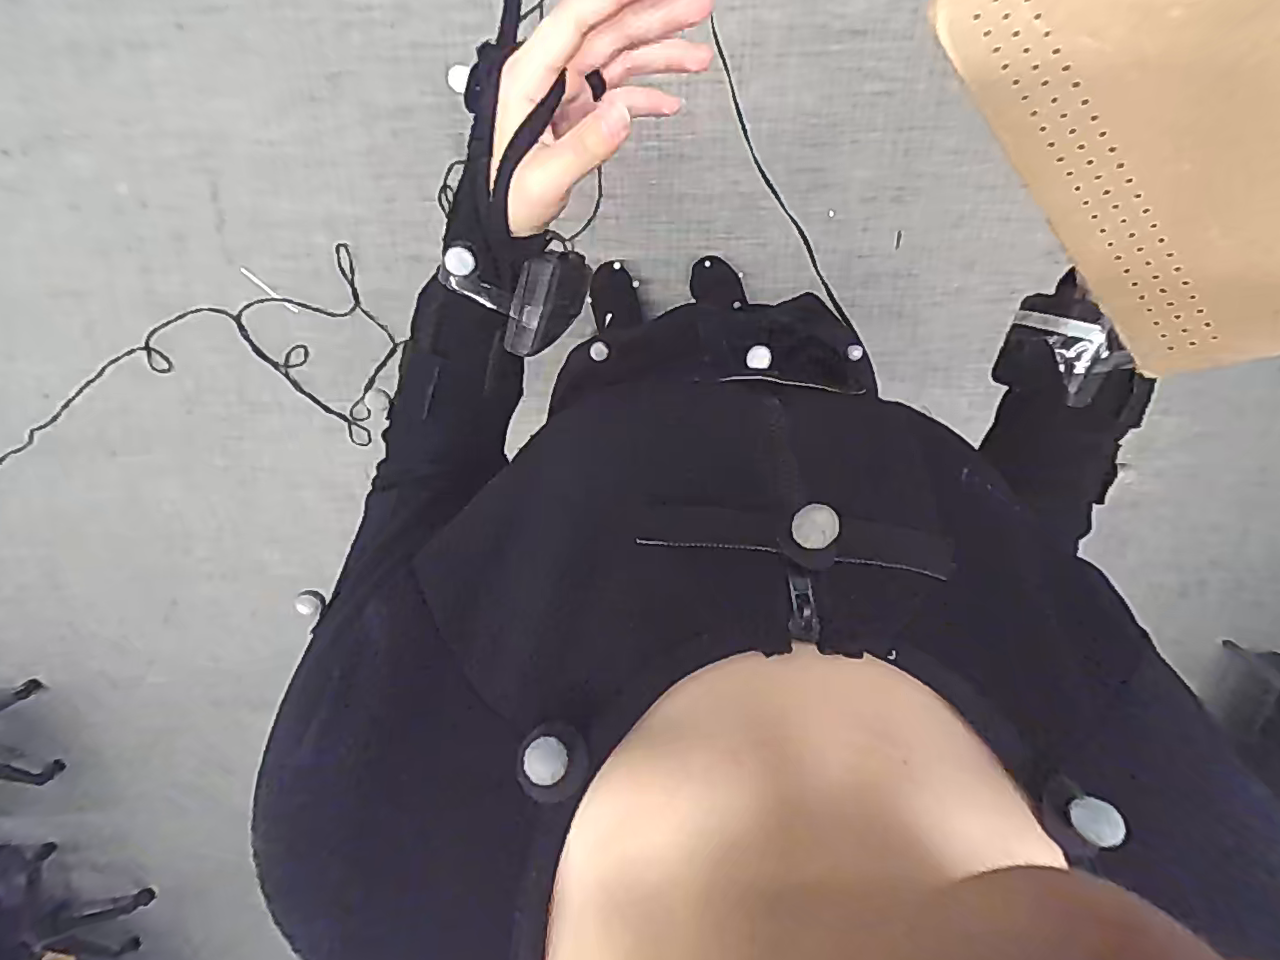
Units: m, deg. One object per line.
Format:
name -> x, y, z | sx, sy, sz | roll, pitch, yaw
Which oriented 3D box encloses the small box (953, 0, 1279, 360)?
small box -> 0.245, -0.167, 0.169 | 0.179, 0.176, 0.168 | 45, 73, -13
